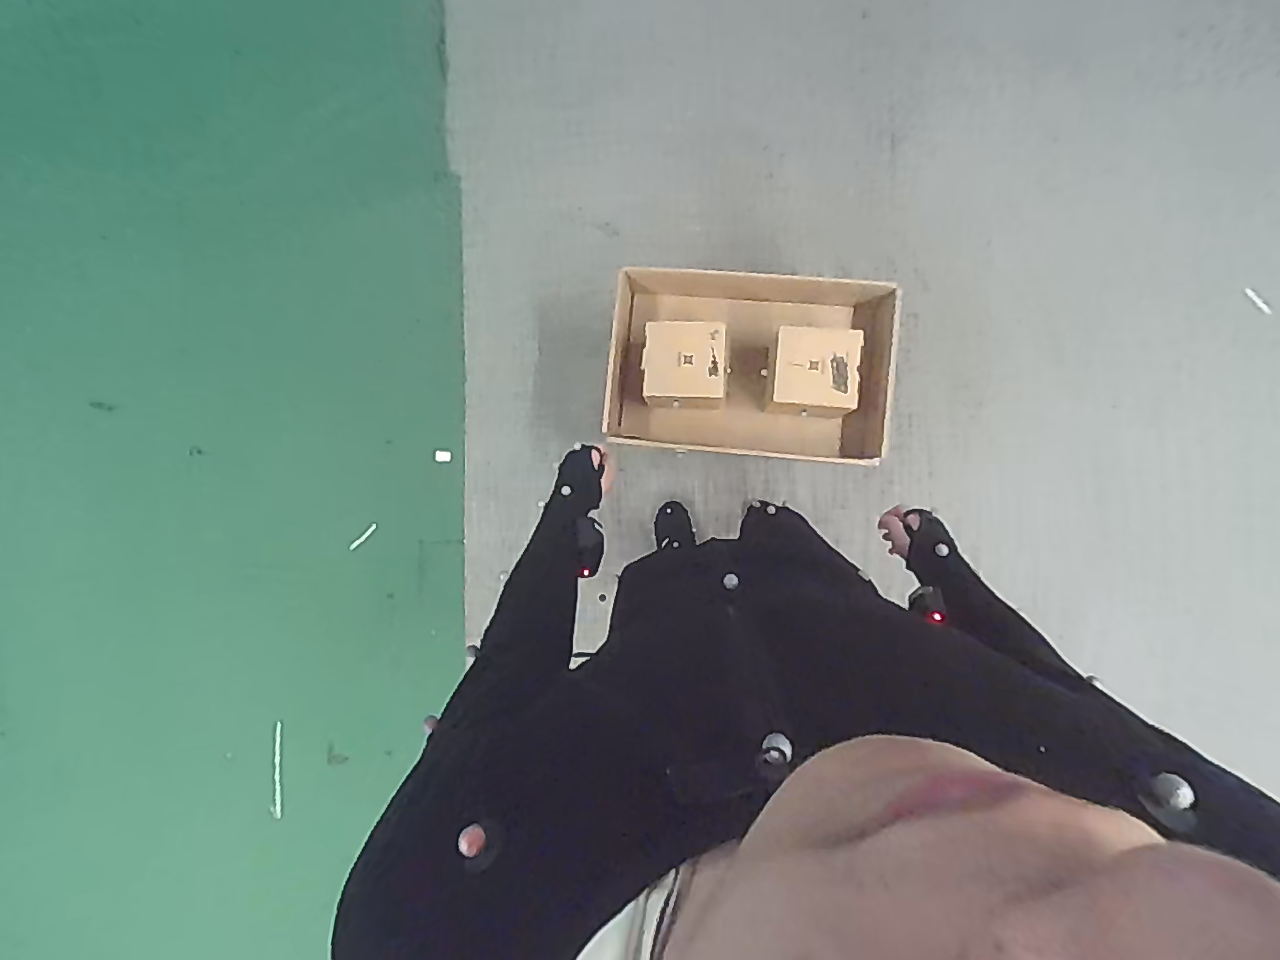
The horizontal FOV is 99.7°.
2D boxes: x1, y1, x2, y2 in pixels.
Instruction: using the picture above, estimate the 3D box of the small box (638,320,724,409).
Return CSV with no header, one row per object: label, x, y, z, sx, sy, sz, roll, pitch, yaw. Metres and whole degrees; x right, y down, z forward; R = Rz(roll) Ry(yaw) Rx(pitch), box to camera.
small box,0.096,-0.256,1.230,0.179,0.176,0.168,3,89,6
